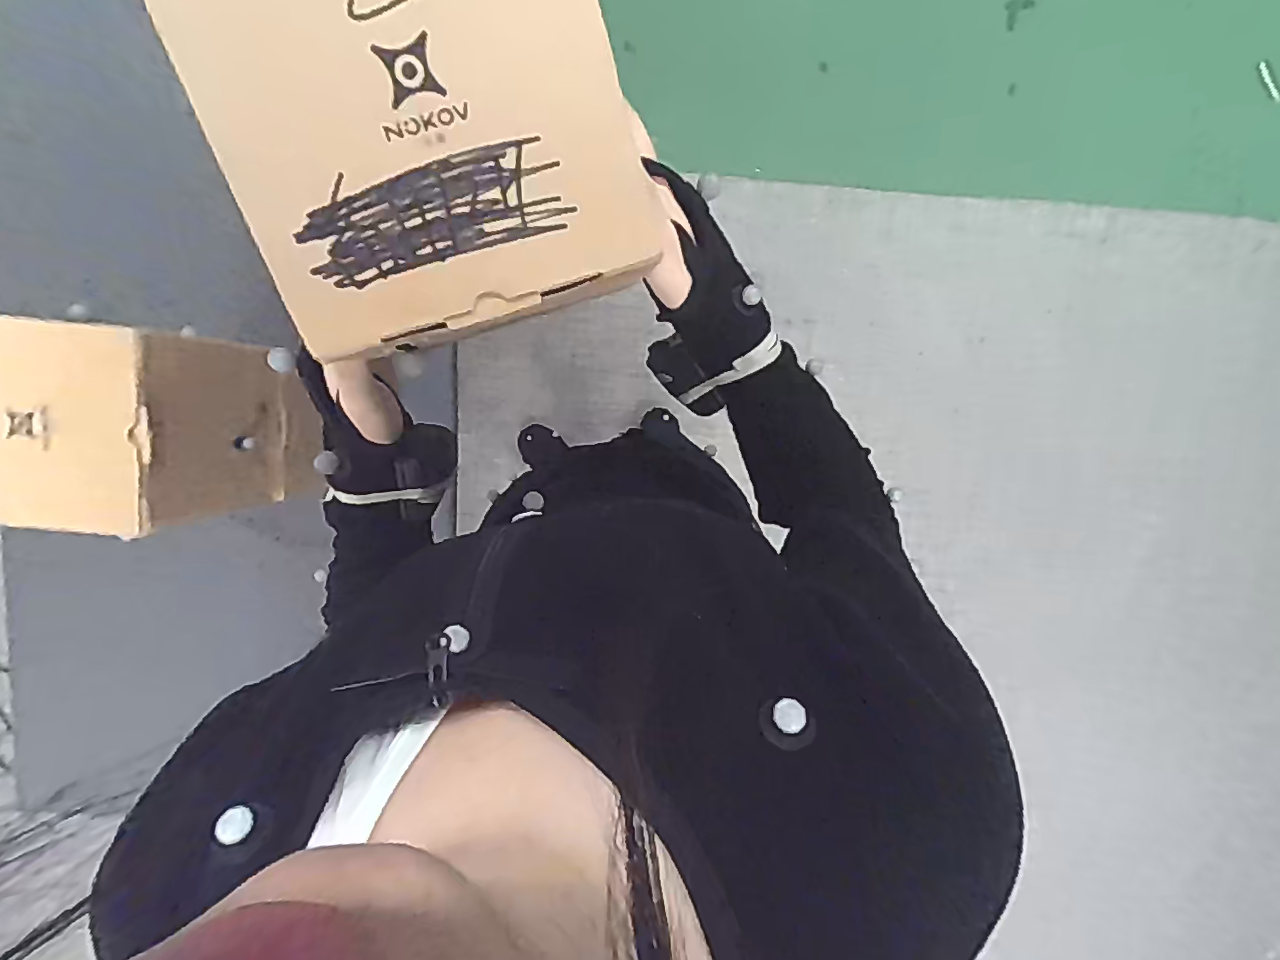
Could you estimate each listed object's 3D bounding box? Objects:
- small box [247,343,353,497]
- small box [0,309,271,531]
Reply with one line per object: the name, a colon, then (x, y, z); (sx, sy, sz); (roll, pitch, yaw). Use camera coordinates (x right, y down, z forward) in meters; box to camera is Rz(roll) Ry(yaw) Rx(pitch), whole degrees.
small box: (-0.479, -0.080, 0.654); (0.179, 0.176, 0.168); (5, 99, -3)
small box: (-0.479, -0.057, 0.494); (0.179, 0.176, 0.168); (4, 98, -3)
